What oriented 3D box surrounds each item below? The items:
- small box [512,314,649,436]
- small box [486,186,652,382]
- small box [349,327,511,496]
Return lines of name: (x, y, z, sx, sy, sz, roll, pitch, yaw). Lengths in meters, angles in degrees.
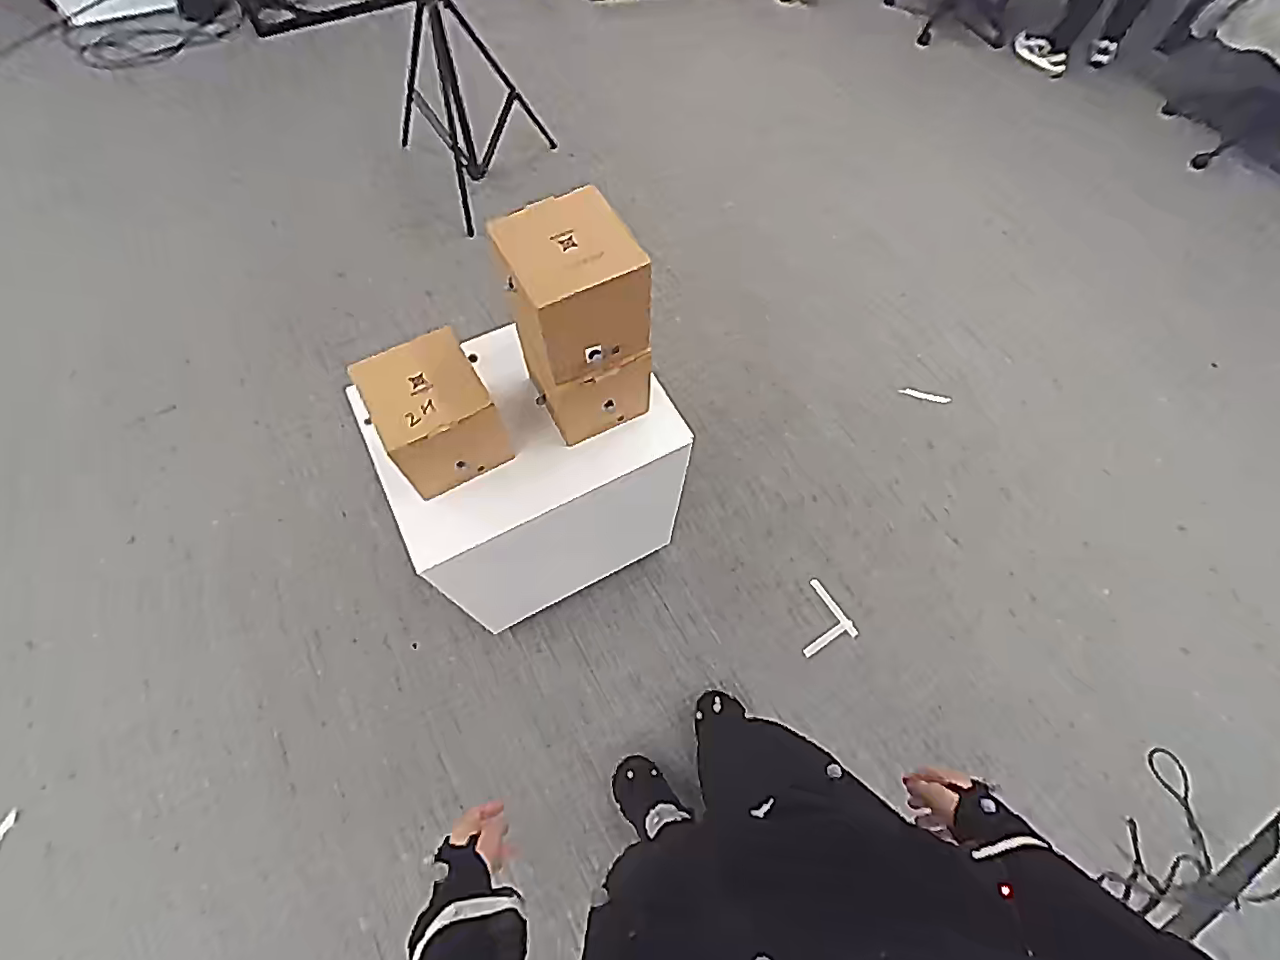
small box: (-0.096, -0.196, 0.921, 0.168, 0.176, 0.179, -26, 69, -13)
small box: (-0.097, -0.276, 0.779, 0.168, 0.176, 0.179, -27, 68, -12)
small box: (-0.328, -0.104, 0.871, 0.168, 0.176, 0.179, -29, 69, -14)
